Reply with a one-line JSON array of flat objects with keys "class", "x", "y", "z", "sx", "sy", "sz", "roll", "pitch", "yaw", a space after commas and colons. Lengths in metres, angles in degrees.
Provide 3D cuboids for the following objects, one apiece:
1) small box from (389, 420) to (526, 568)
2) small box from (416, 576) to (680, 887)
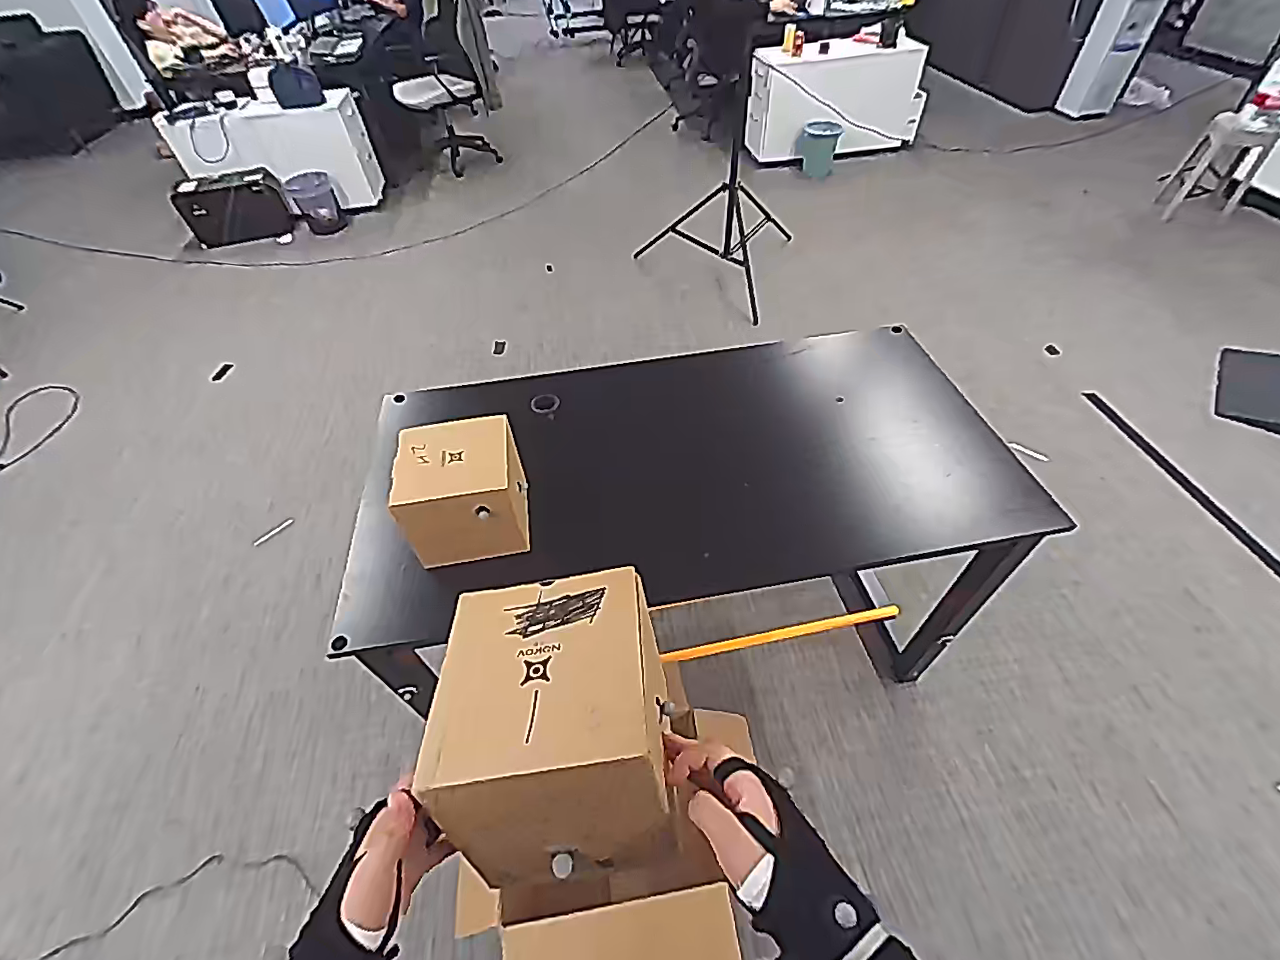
[{"class": "small box", "x": -0.289, "y": 0.025, "z": 0.899, "sx": 0.179, "sy": 0.176, "sz": 0.168, "roll": -9, "pitch": 49, "yaw": -5}, {"class": "small box", "x": -0.064, "y": 0.215, "z": 0.476, "sx": 0.168, "sy": 0.176, "sz": 0.179, "roll": -11, "pitch": 34, "yaw": 3}]
